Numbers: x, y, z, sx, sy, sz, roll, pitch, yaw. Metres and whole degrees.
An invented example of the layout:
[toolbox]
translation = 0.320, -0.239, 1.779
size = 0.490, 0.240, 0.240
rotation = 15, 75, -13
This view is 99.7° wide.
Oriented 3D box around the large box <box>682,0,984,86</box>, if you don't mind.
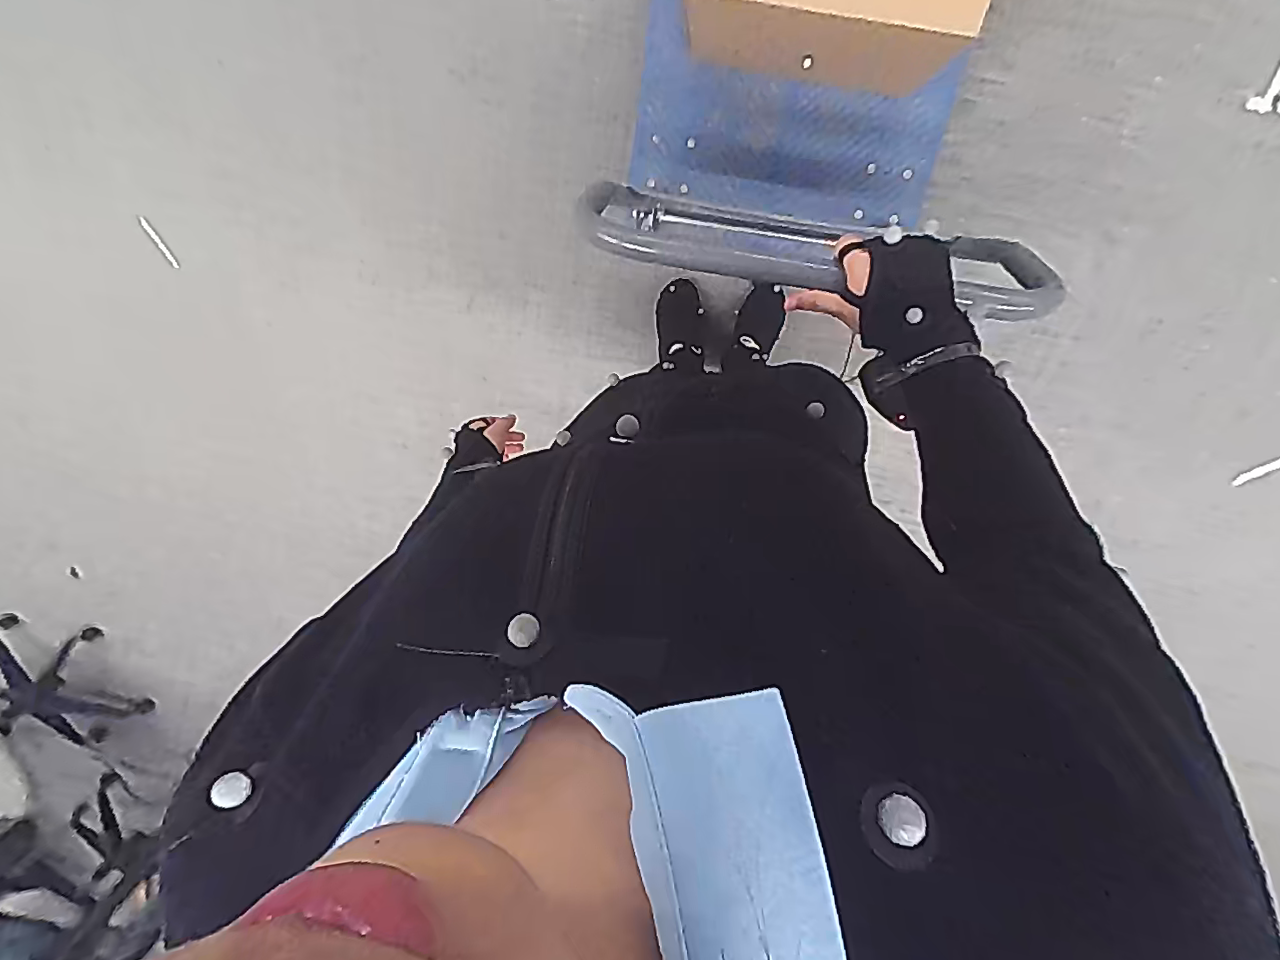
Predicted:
[large box]
translation = 0.293, -0.827, 0.799
size = 0.408, 0.320, 0.320
rotation = 12, 113, 4
